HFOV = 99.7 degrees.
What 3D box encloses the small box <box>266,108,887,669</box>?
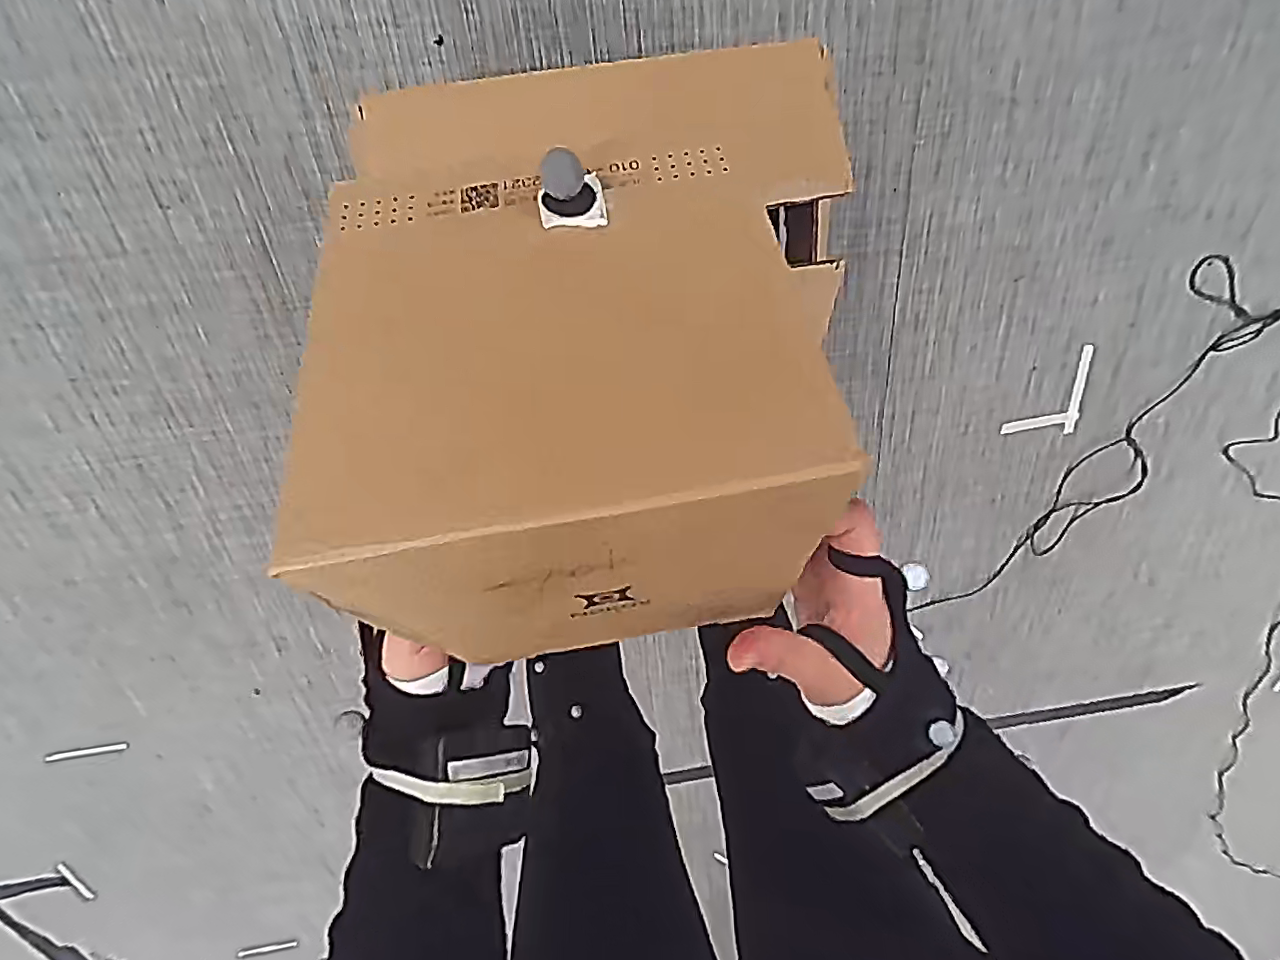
[{"bbox_3d":[-0.023,-0.025,0.249,0.168,0.176,0.179,-11,152,-1],"label":"small box"}]
